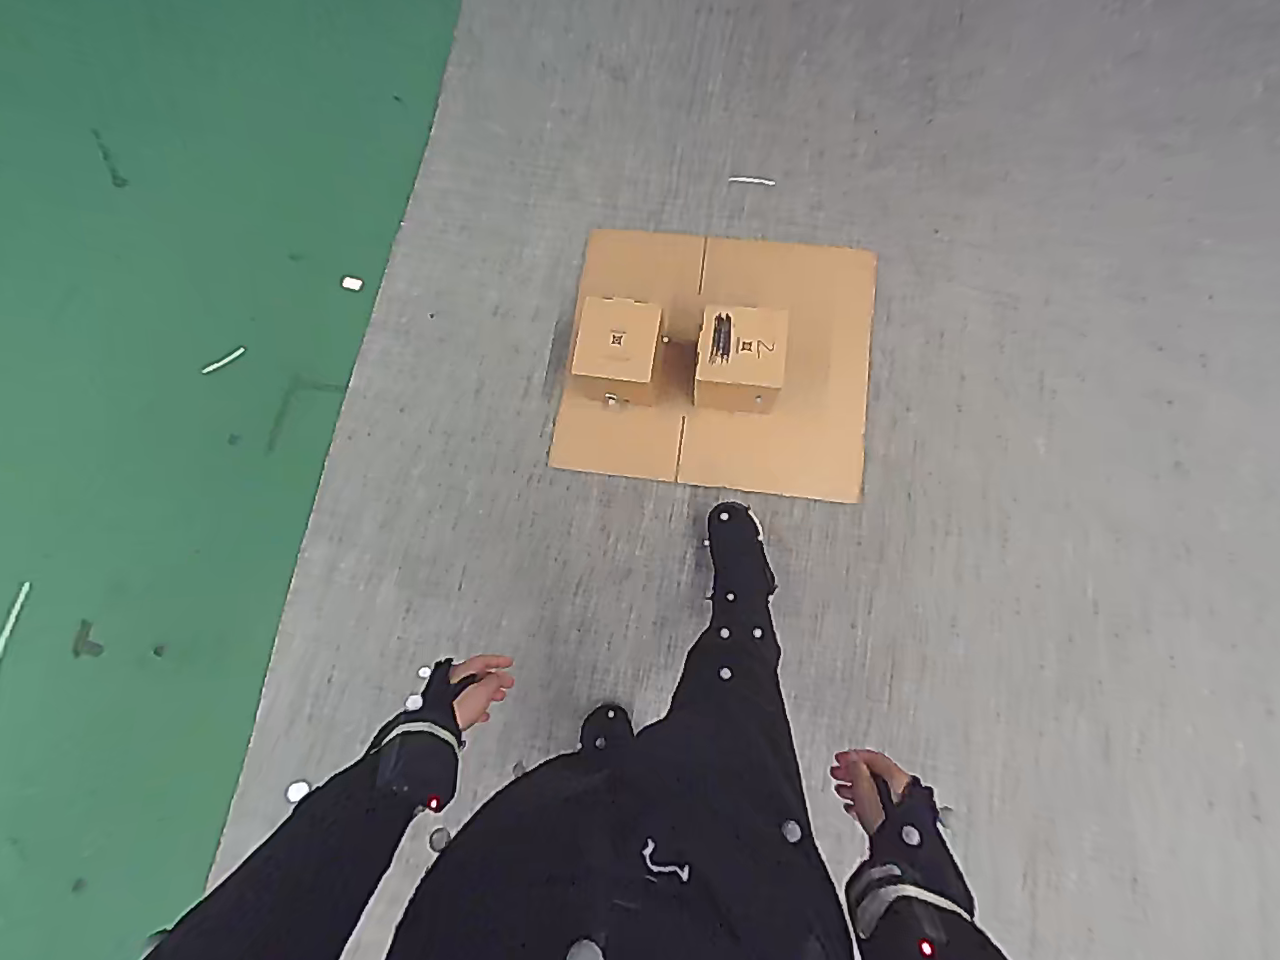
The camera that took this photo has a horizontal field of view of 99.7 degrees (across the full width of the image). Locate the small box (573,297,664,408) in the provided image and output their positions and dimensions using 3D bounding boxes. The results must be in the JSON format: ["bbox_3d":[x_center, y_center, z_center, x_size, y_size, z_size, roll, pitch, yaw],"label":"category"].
[{"bbox_3d":[-0.039,-0.273,1.182,0.168,0.176,0.179,8,81,6],"label":"small box"}]
